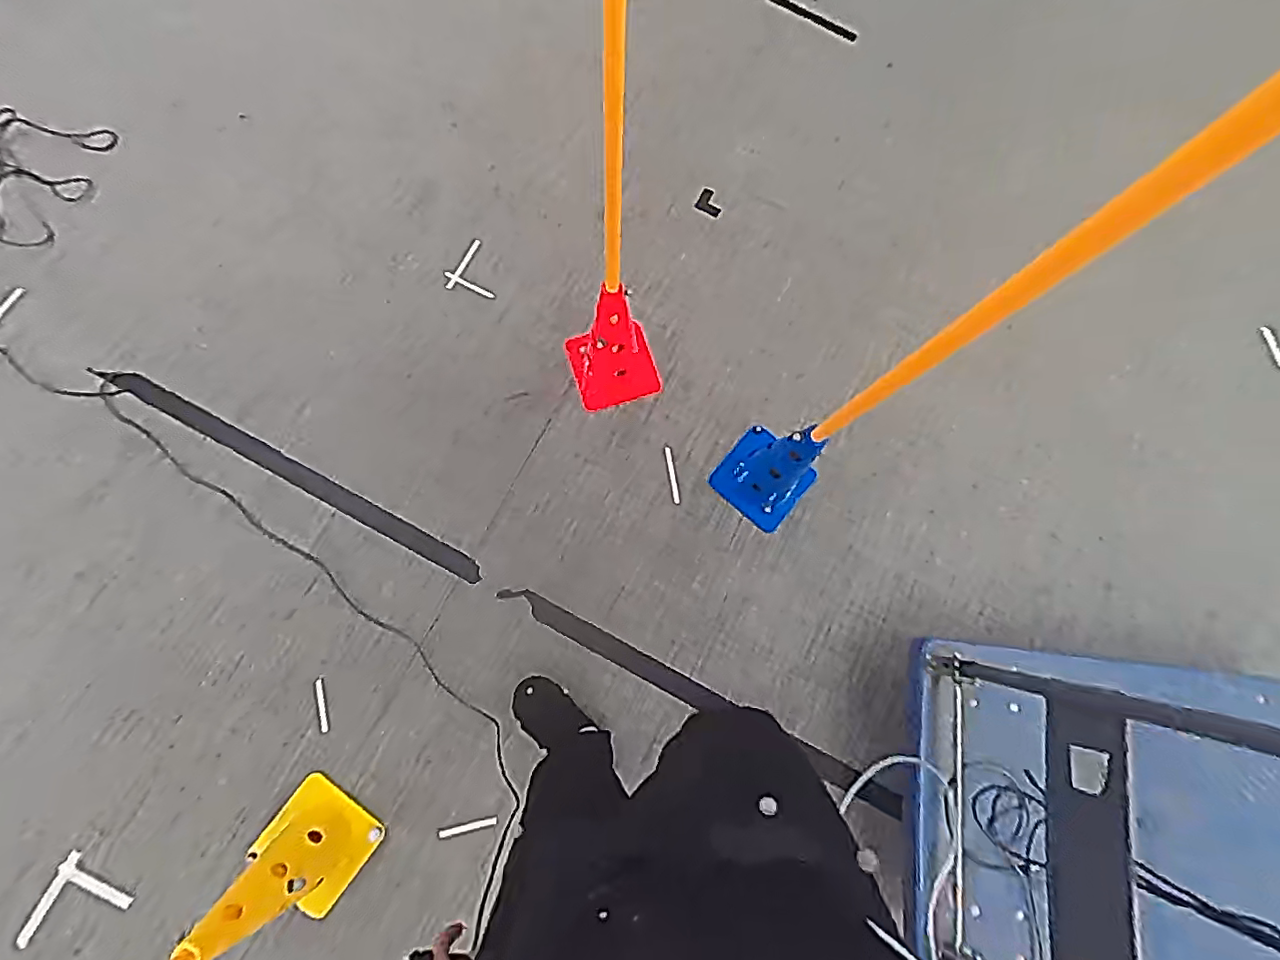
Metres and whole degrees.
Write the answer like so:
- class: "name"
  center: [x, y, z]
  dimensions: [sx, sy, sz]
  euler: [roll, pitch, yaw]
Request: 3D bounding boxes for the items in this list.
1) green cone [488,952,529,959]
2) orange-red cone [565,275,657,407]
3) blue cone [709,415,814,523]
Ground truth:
- class: "green cone"
  center: [-0.212, 0.986, 0.854]
  dimensions: [0.202, 0.368, 0.200]
  euler: [13, 77, 1]
- class: "orange-red cone"
  center: [-0.063, -0.321, 1.150]
  dimensions: [0.198, 0.360, 0.199]
  euler: [-17, 80, -6]
- class: "blue cone"
  center: [0.288, -0.050, 1.124]
  dimensions: [0.192, 0.380, 0.193]
  euler: [42, 79, 7]
